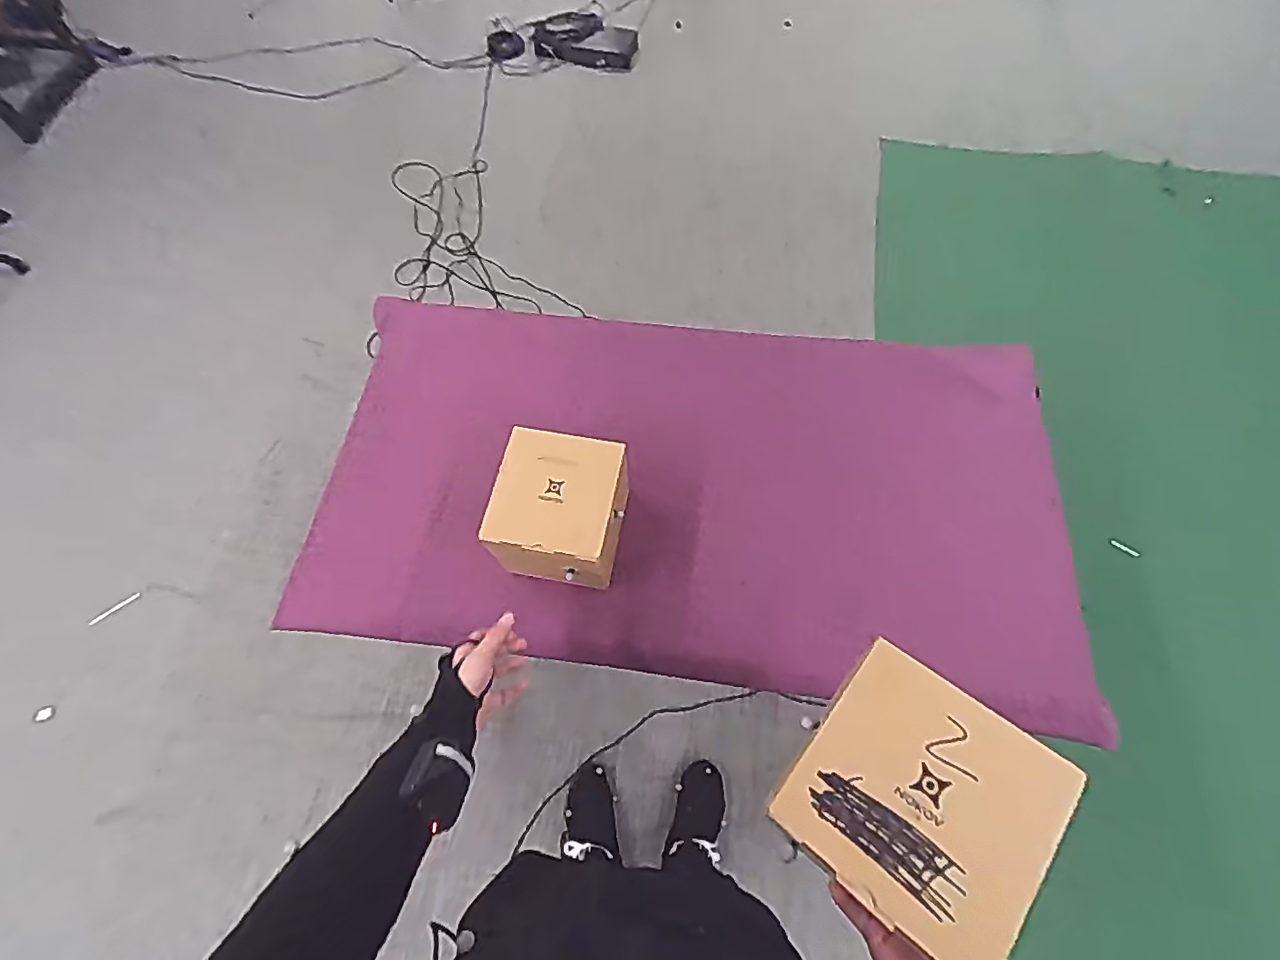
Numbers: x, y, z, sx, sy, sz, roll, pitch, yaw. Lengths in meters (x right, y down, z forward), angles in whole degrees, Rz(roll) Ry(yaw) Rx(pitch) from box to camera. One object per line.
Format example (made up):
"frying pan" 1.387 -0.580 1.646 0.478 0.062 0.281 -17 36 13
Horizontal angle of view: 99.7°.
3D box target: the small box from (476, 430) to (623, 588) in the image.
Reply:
"small box" -0.122 0.051 0.813 0.168 0.176 0.179 11 66 5
